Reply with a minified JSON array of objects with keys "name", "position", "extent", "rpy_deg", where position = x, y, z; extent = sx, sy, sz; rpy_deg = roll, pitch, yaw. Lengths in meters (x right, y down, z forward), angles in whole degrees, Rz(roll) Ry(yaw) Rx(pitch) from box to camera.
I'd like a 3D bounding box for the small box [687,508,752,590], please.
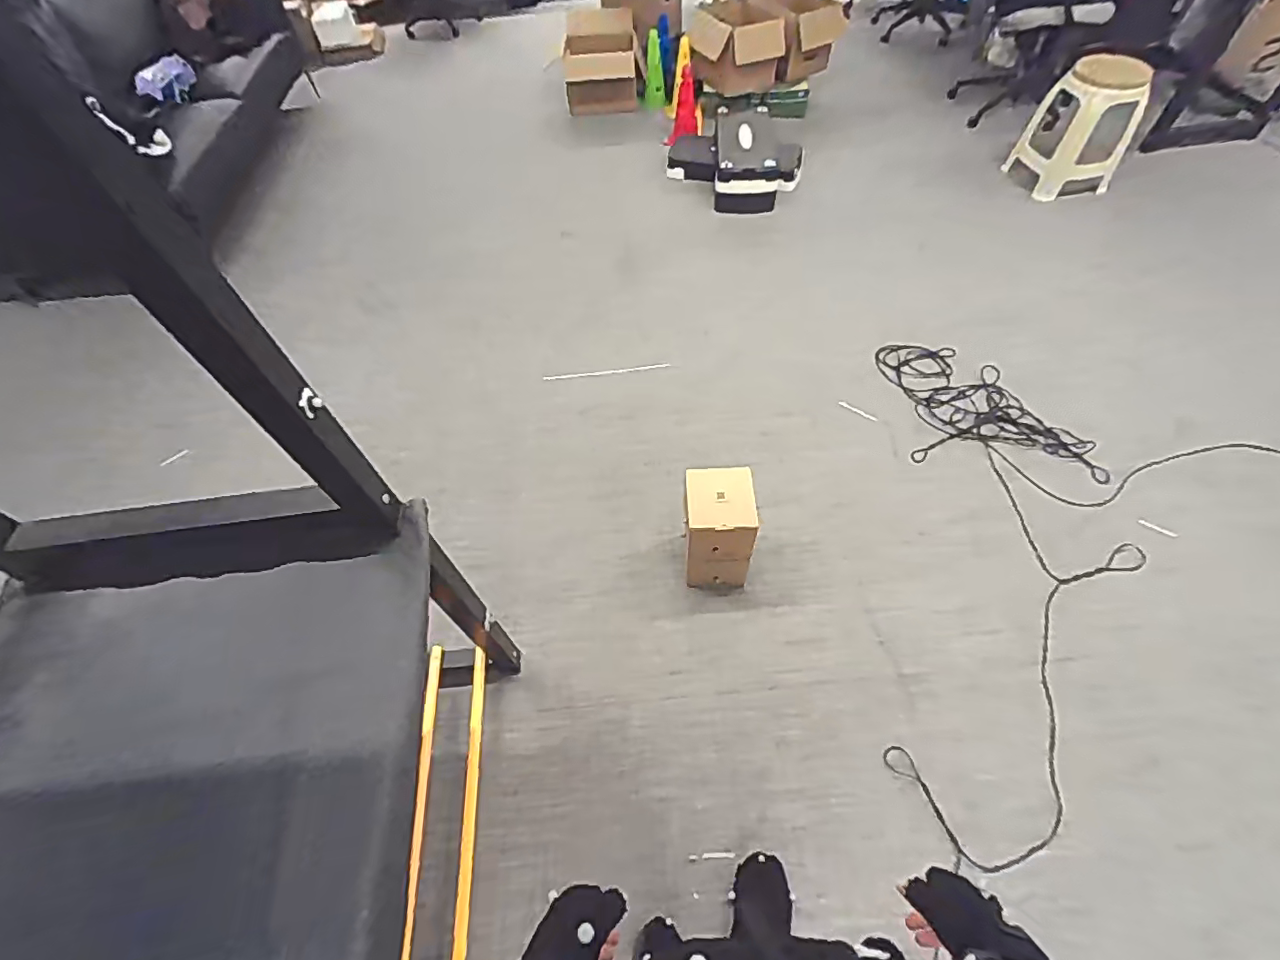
[{"name":"small box","position":[0.218,0.195,1.523],"extent":[0.168,0.176,0.179],"rpy_deg":[-1,56,4]}]
